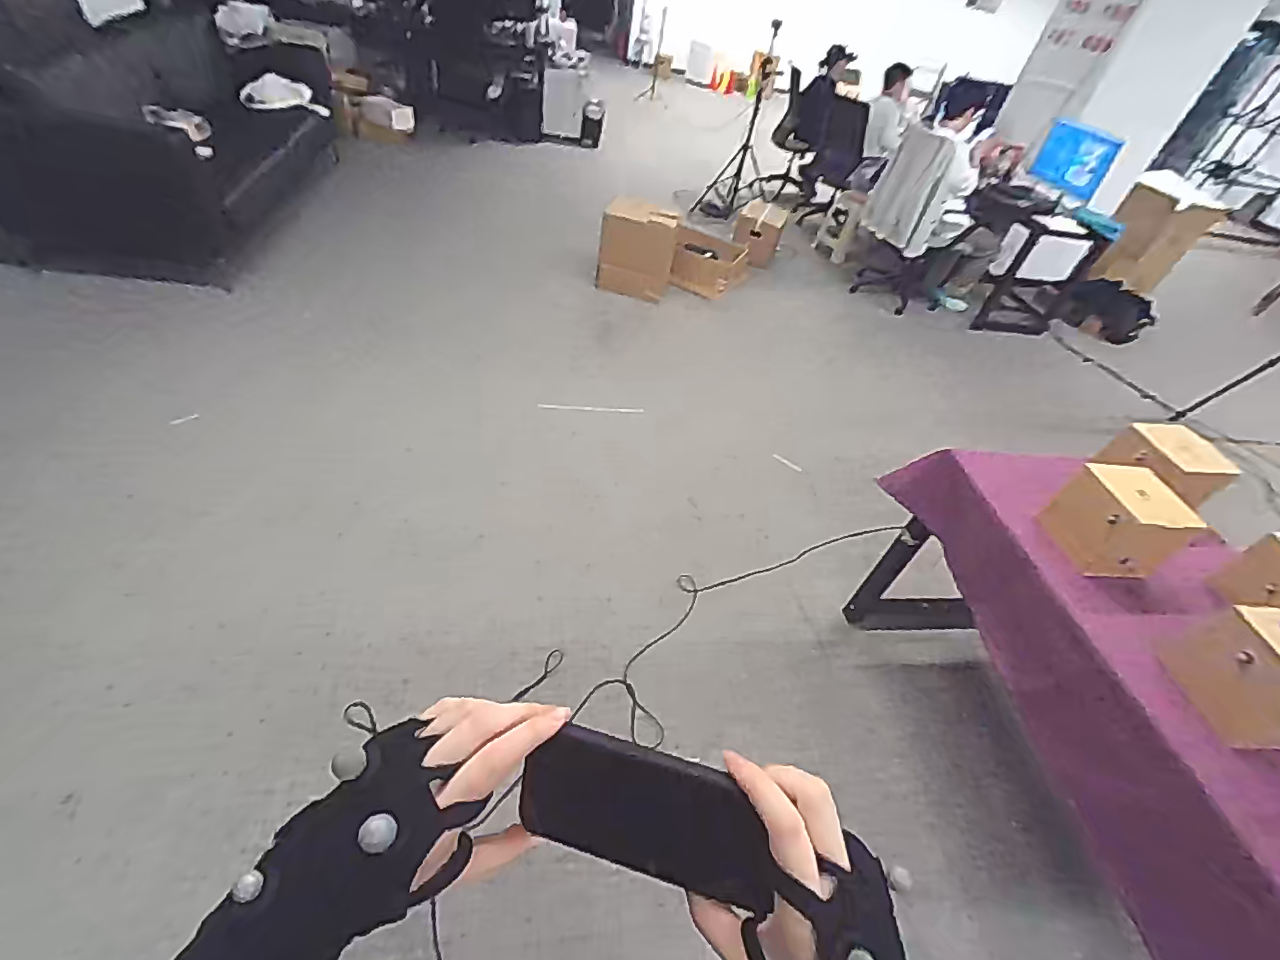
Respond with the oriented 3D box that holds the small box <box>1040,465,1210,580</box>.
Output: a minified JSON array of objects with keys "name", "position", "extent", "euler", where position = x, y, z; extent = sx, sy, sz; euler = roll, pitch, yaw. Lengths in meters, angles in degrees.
[{"name":"small box","position":[1.020,0.092,1.160],"extent":[0.168,0.176,0.179],"euler":[4,45,-10]}]

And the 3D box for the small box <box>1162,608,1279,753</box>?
[{"name":"small box","position":[1.067,0.341,0.914],"extent":[0.168,0.176,0.179],"euler":[5,45,-8]}]
